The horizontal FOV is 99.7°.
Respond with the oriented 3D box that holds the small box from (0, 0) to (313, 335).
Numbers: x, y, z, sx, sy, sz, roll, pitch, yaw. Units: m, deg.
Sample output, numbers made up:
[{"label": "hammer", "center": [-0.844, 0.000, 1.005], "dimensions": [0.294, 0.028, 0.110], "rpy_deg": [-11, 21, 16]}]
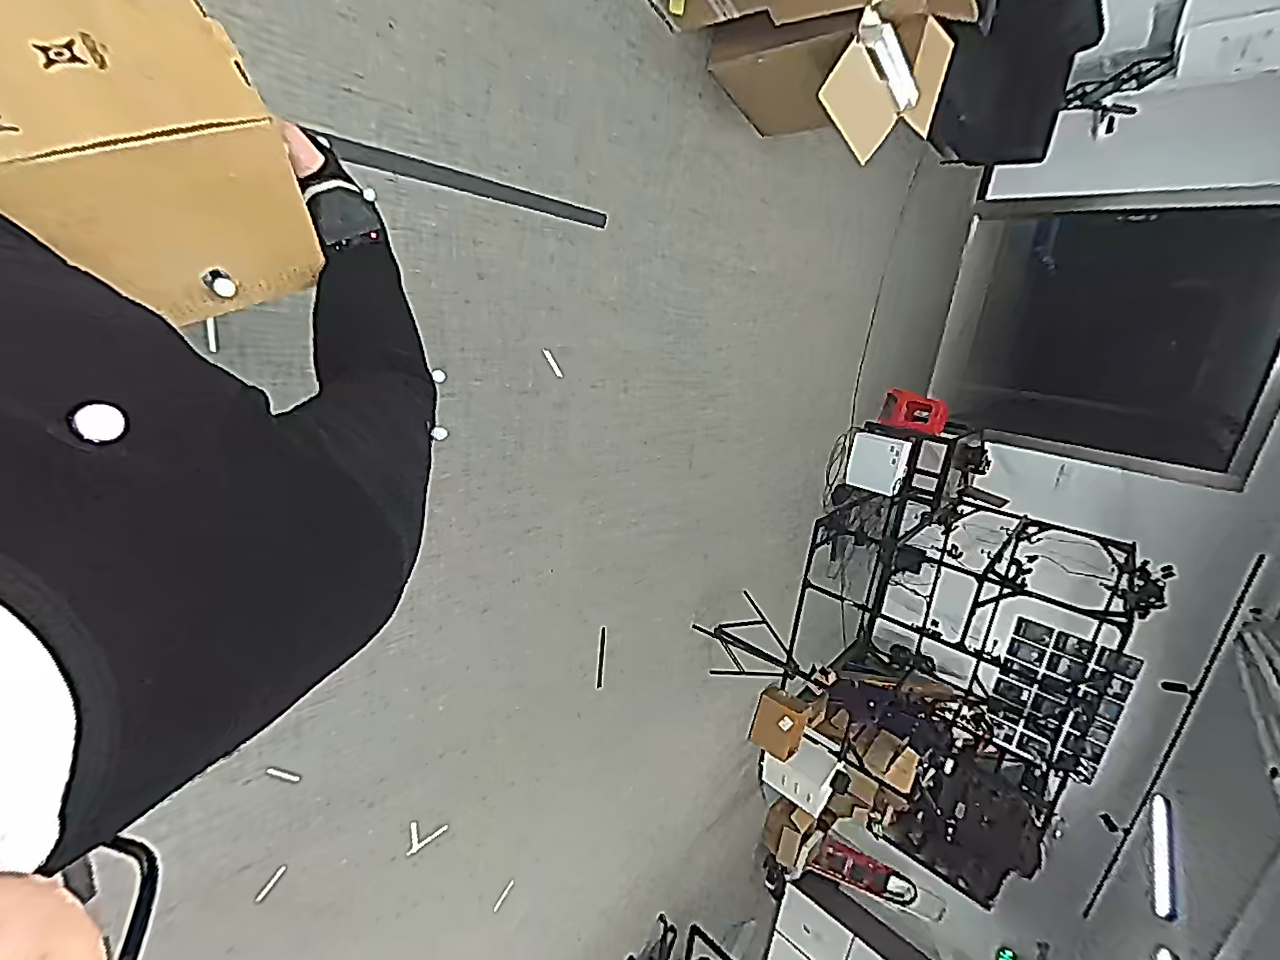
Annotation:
[{"label": "small box", "center": [-0.403, -0.255, 0.449], "dimensions": [0.179, 0.168, 0.176], "rpy_deg": [-31, 169, -25]}]
